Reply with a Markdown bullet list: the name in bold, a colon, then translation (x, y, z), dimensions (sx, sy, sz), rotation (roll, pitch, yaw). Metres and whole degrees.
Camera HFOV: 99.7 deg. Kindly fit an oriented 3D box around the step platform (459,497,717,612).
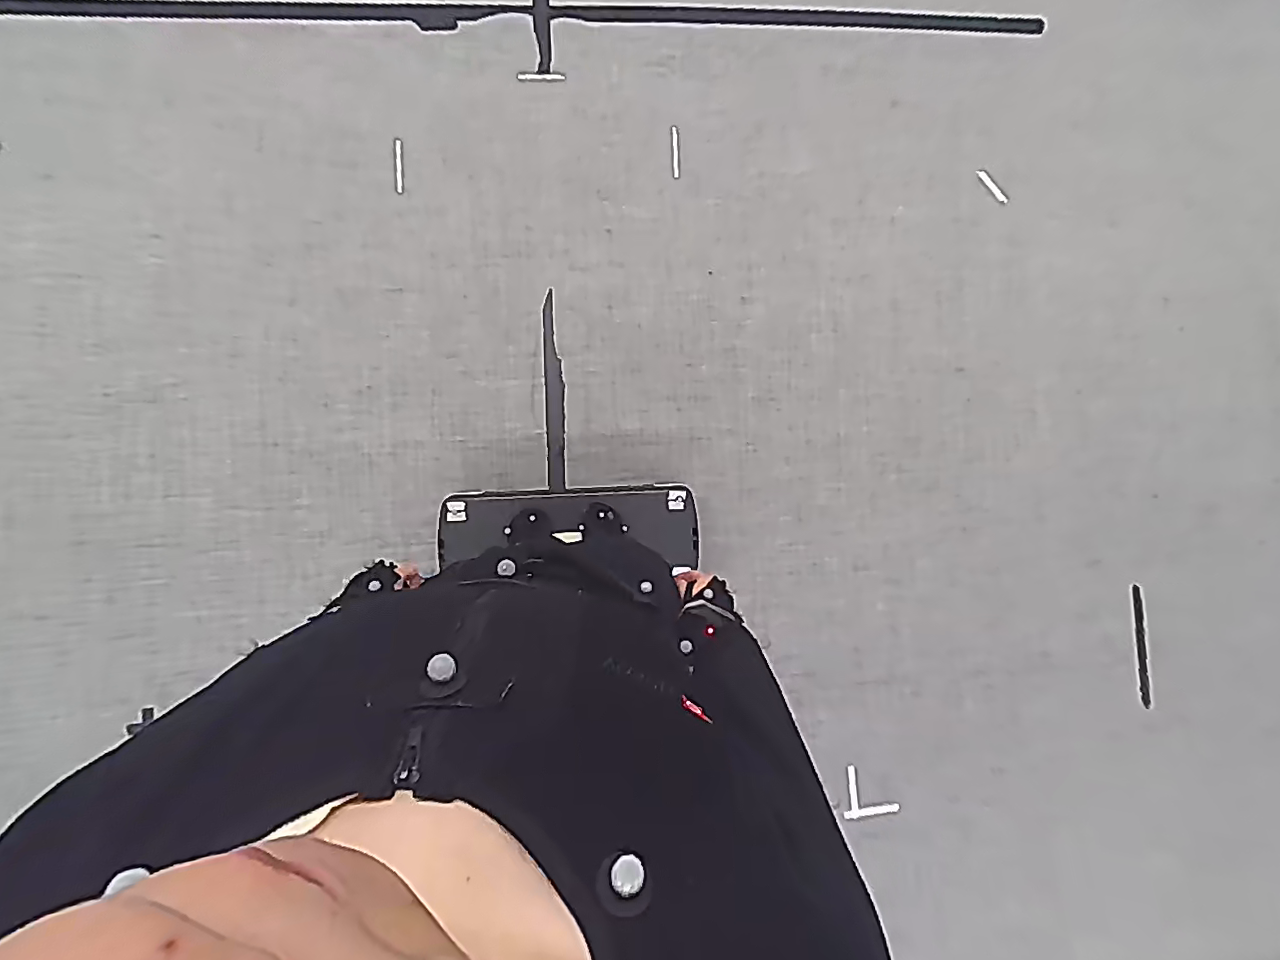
- **step platform**: translation (-0.133, 0.199, 1.473), dimensions (0.684, 0.204, 0.286), rotation (2, 87, -6)
